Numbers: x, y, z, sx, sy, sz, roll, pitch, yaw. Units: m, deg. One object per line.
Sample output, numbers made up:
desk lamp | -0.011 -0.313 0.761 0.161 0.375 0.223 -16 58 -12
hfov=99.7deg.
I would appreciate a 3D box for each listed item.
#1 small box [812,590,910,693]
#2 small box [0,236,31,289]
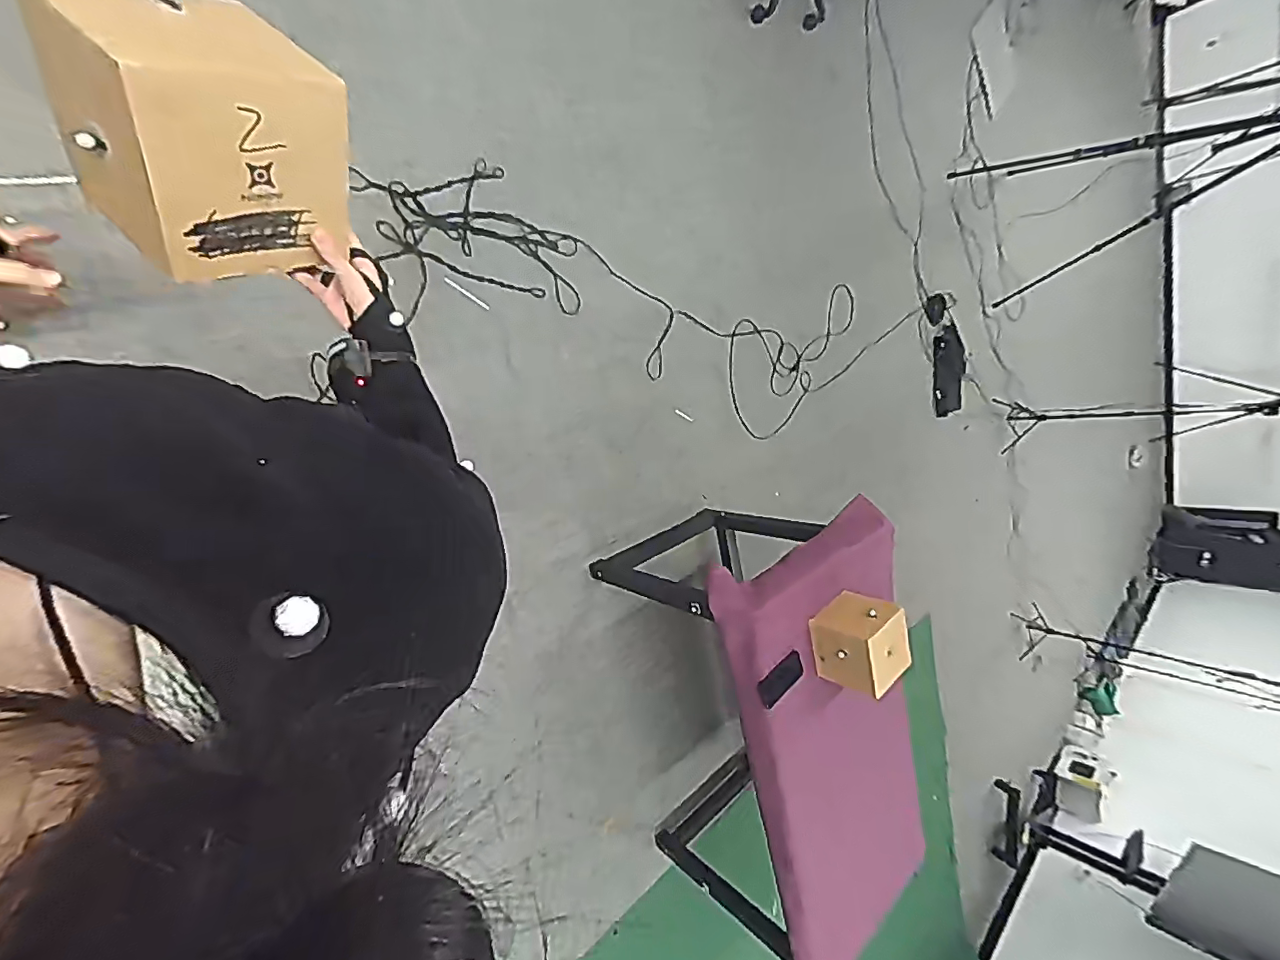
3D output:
small box | 0.552 0.400 1.369 0.179 0.176 0.168 -24 108 -35
small box | -1.053 -0.355 0.772 0.168 0.176 0.179 -42 116 -27
